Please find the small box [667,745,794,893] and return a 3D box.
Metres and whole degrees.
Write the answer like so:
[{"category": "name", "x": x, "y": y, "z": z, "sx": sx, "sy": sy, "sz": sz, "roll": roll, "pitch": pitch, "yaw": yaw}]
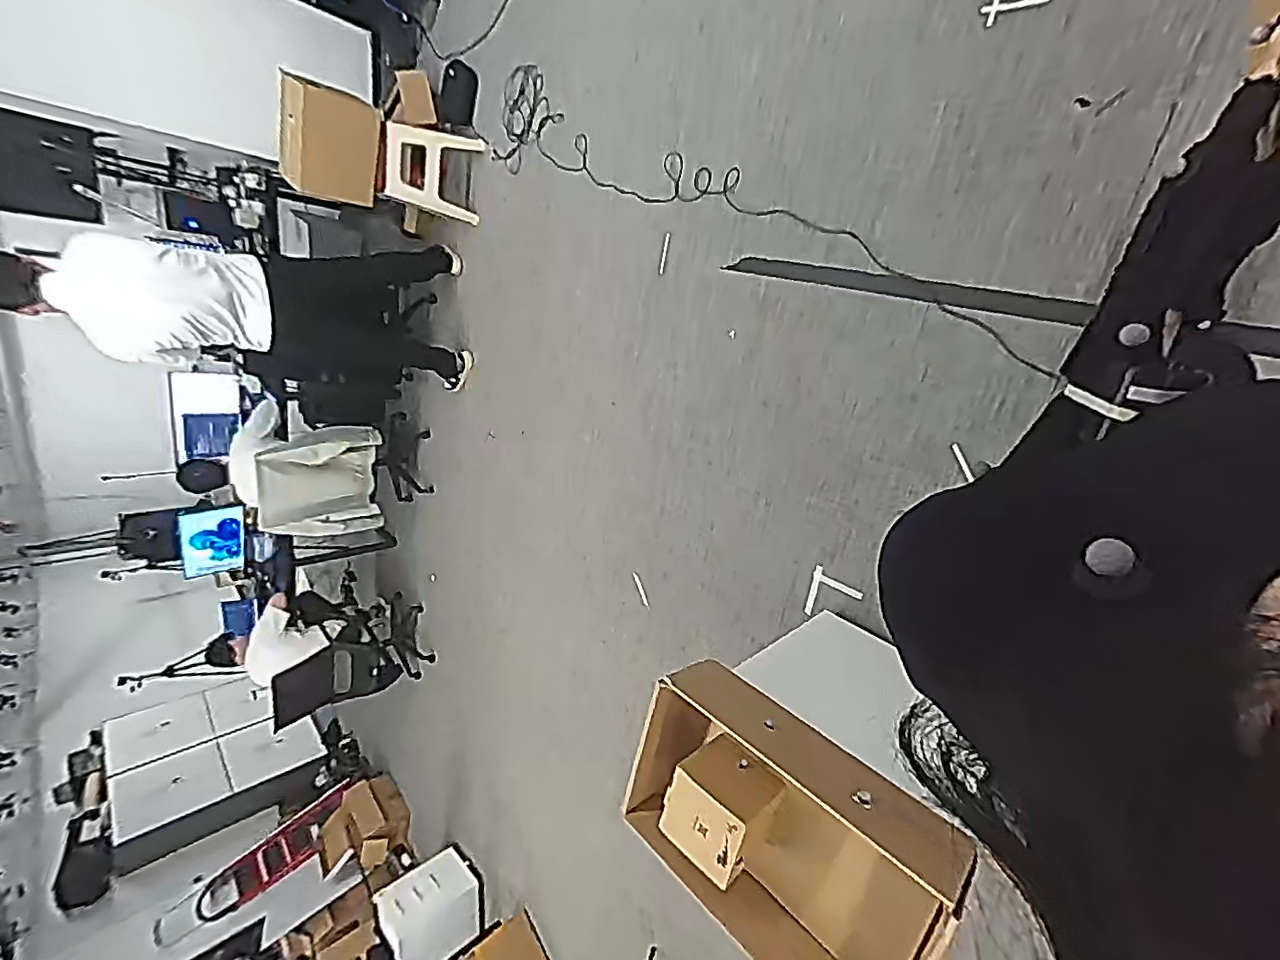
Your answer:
[{"category": "small box", "x": 0.189, "y": 0.685, "z": 1.126, "sx": 0.179, "sy": 0.176, "sz": 0.168, "roll": 26, "pitch": 110, "yaw": 39}]
